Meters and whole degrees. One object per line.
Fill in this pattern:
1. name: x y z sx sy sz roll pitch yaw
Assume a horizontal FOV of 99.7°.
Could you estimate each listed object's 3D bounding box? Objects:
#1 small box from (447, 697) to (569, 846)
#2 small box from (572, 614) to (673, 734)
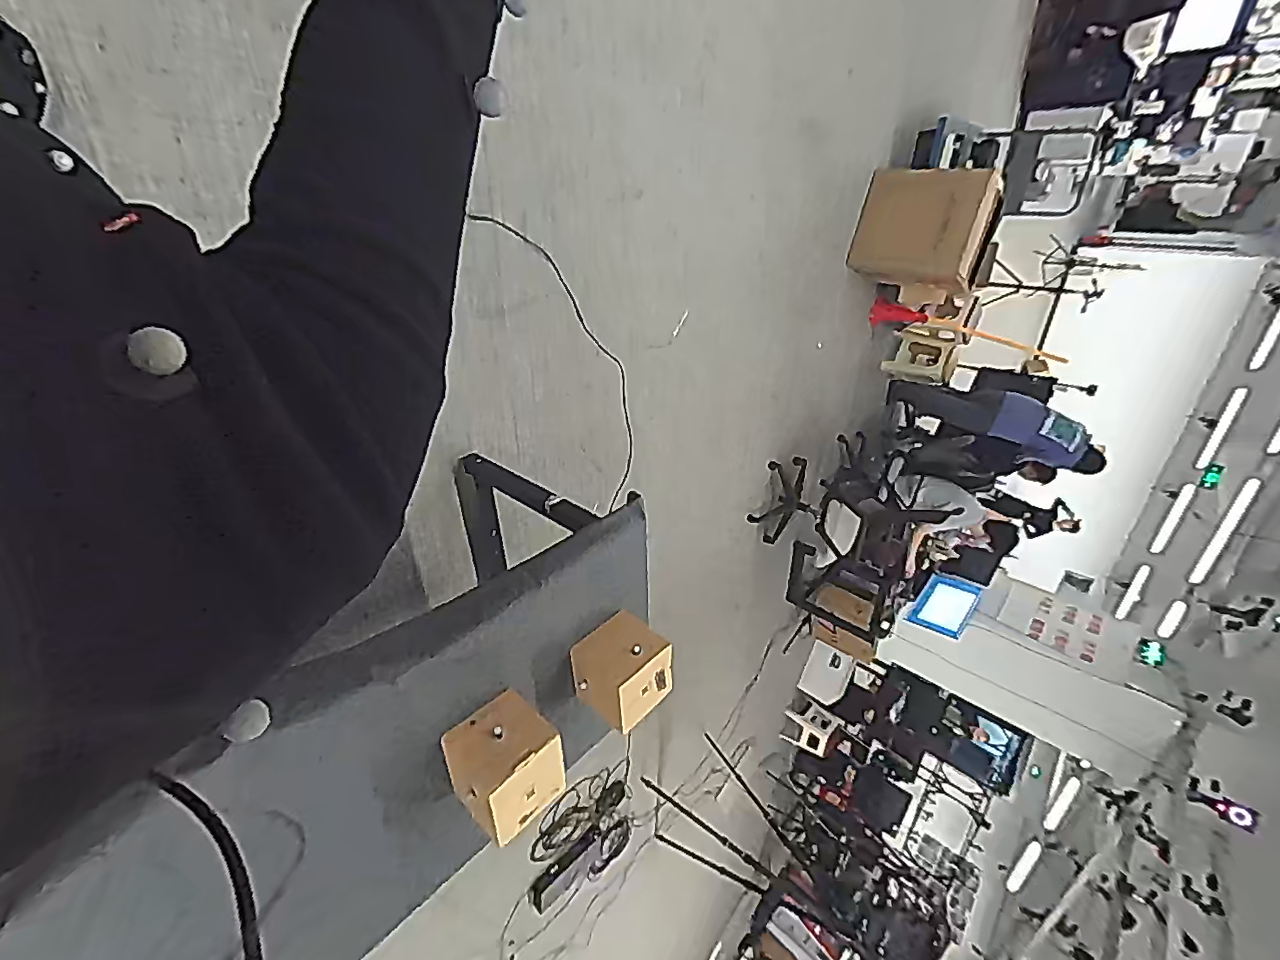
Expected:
1. small box: -0.265 0.569 1.086 0.168 0.176 0.179 -28 128 -40
2. small box: -0.039 0.455 1.300 0.179 0.176 0.168 -30 129 -37
